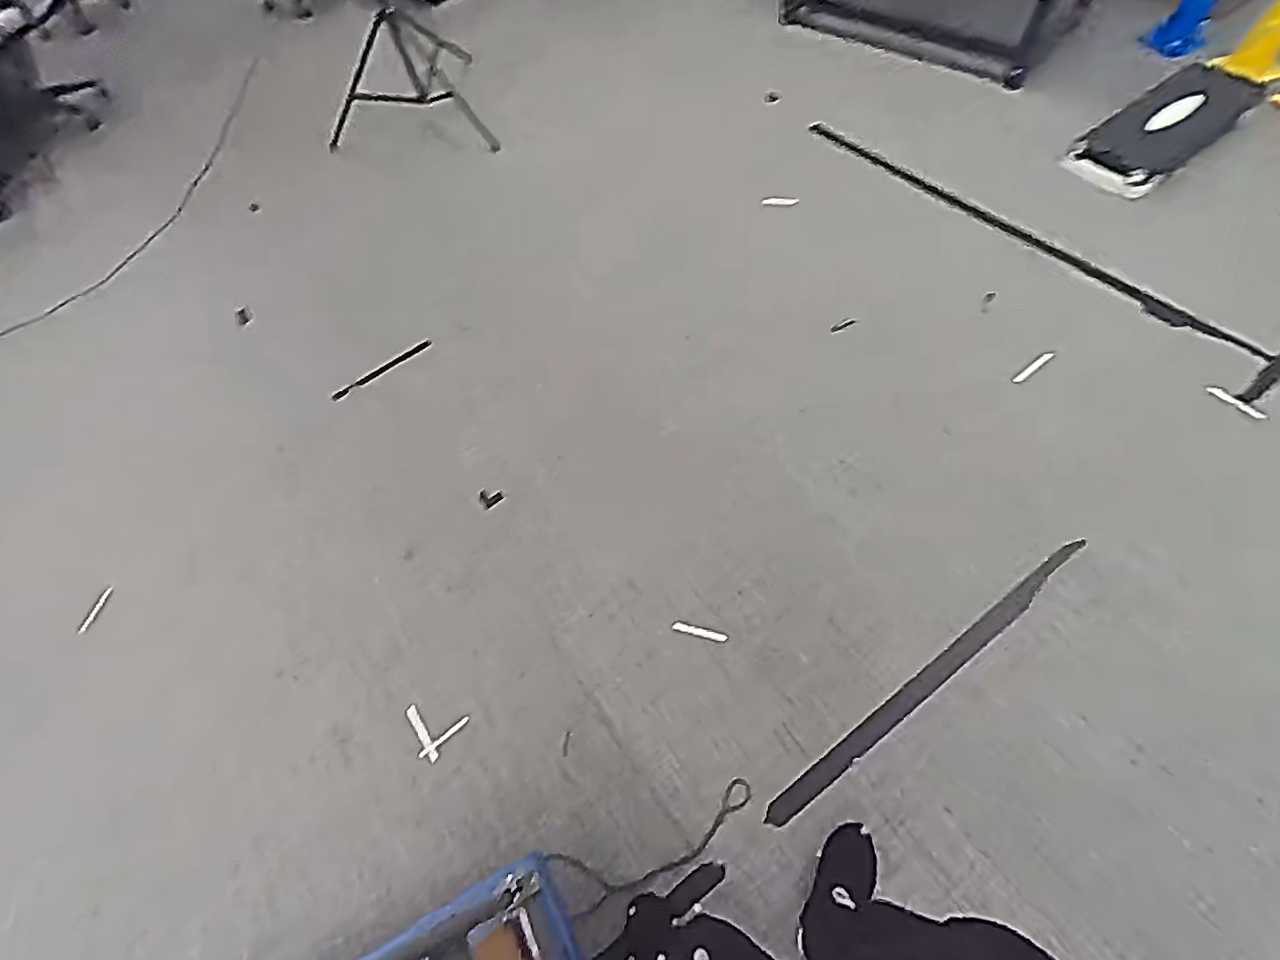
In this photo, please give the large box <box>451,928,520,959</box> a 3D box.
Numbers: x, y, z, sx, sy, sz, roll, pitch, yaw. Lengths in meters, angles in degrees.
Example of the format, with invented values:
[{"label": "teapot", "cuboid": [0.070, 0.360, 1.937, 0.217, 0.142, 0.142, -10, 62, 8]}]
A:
[{"label": "large box", "cuboid": [-0.304, 1.002, 0.796, 0.320, 0.320, 0.408, -29, 61, -8]}]
